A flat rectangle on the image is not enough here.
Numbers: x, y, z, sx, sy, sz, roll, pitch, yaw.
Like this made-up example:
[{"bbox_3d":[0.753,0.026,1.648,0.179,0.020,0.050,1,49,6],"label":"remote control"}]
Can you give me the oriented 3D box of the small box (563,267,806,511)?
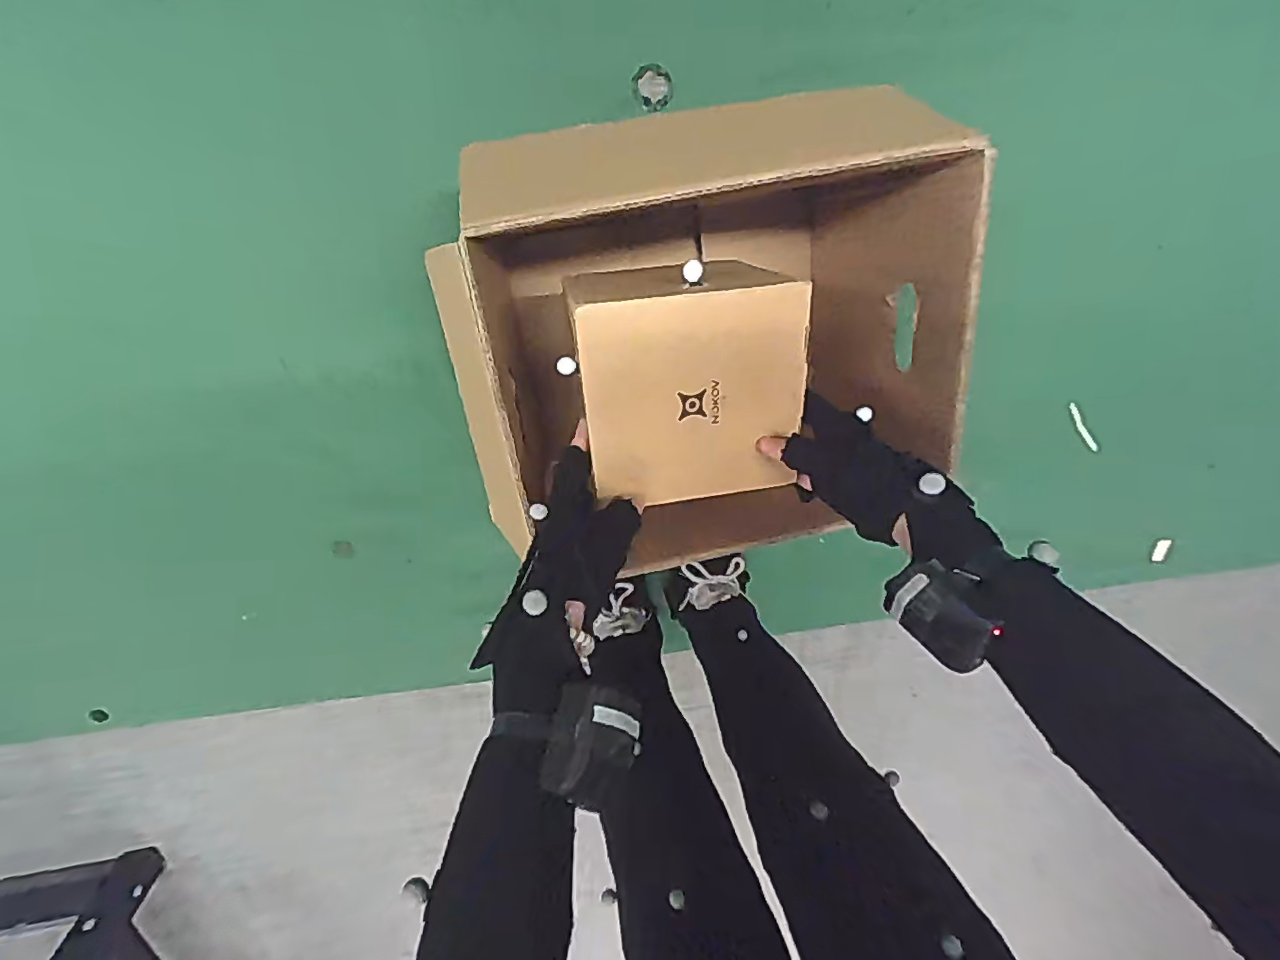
[{"bbox_3d":[0.027,-0.092,0.486,0.179,0.176,0.168,-9,117,-8],"label":"small box"}]
